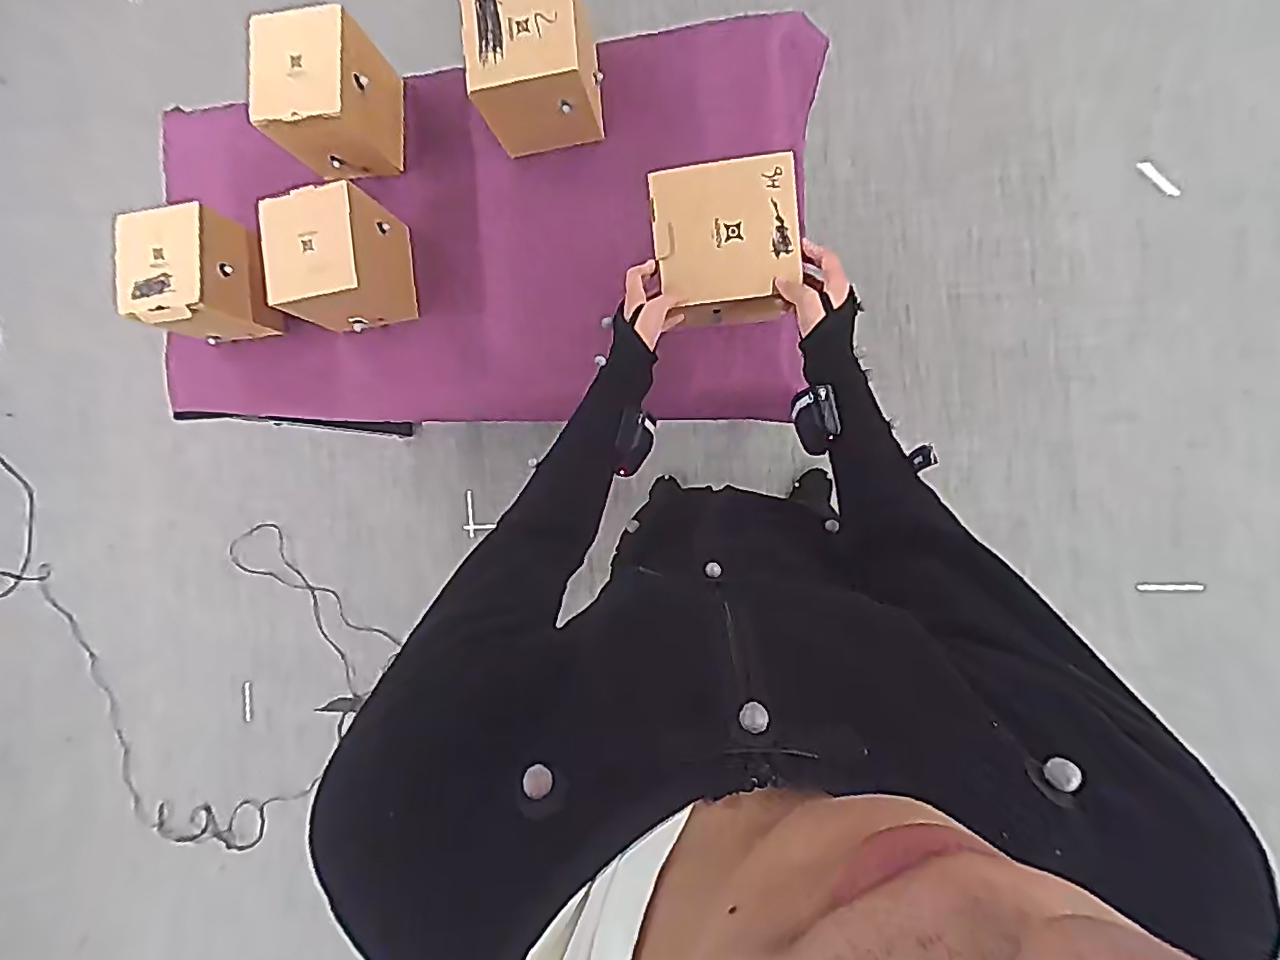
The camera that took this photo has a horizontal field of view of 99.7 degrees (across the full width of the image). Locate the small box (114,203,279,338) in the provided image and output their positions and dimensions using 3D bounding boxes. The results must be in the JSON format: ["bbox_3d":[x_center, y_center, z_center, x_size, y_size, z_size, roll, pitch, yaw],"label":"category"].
[{"bbox_3d":[-0.789,-0.364,0.976,0.168,0.176,0.179,-4,88,9],"label":"small box"}]

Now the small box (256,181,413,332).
[{"bbox_3d":[-0.518,-0.374,0.935,0.168,0.176,0.179,-7,89,10],"label":"small box"}]

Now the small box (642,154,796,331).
[{"bbox_3d":[0.104,-0.306,0.733,0.179,0.176,0.168,-5,95,6],"label":"small box"}]

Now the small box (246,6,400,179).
[{"bbox_3d":[-0.537,-0.656,0.934,0.168,0.176,0.179,0,91,8],"label":"small box"}]
